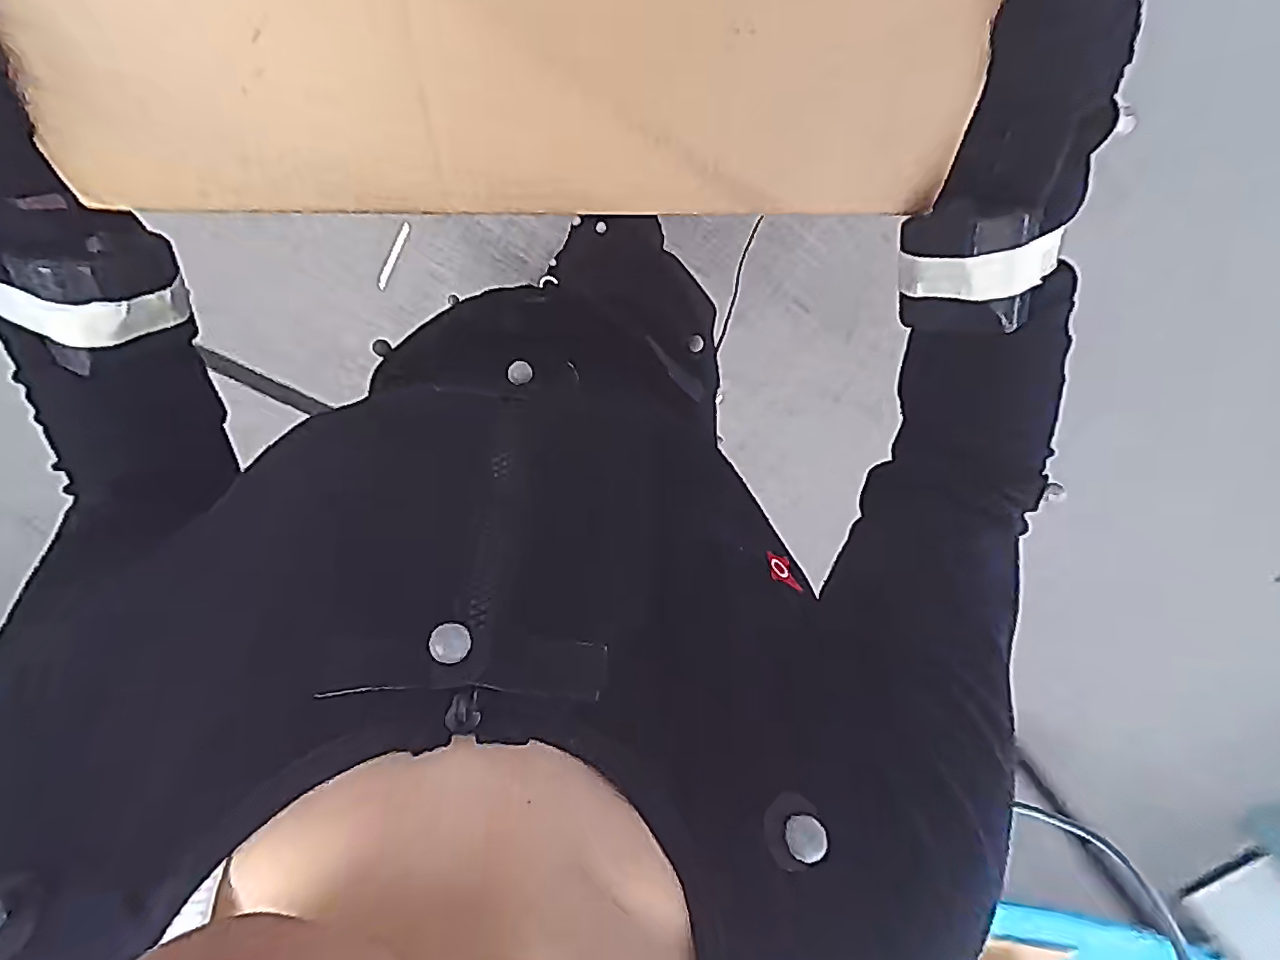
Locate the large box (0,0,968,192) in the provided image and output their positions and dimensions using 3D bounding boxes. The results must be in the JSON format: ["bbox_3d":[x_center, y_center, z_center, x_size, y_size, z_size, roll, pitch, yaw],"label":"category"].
[{"bbox_3d":[-0.067,-0.360,0.250,0.408,0.320,0.320,-3,138,-4],"label":"large box"}]
